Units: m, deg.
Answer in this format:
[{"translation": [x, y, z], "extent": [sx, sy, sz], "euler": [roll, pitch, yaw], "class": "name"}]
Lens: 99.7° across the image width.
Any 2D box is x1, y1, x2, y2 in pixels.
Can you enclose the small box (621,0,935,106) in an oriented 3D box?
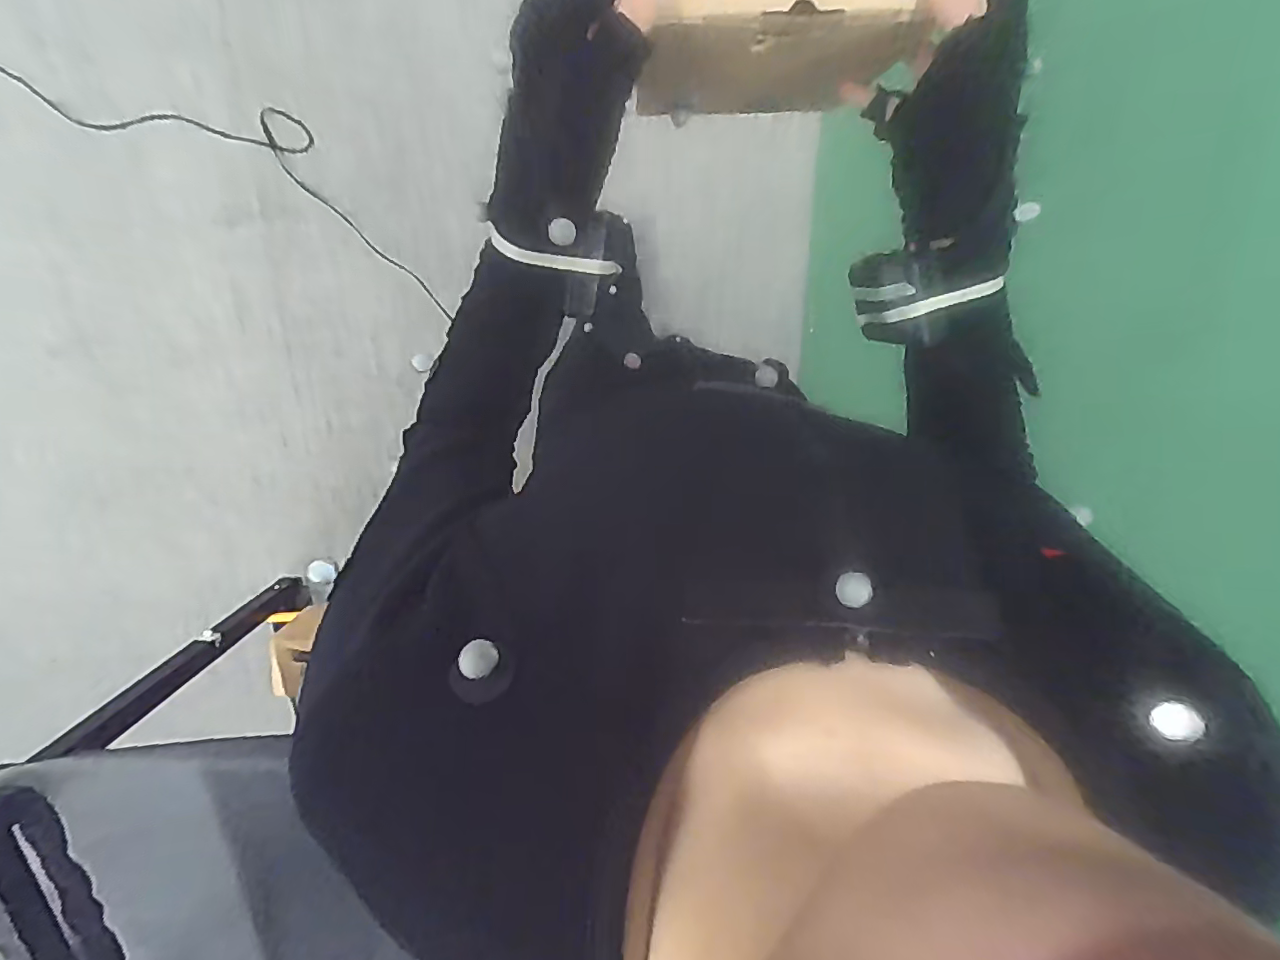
[{"translation": [0.071, -0.349, 0.328], "extent": [0.168, 0.176, 0.179], "euler": [-2, 109, -1], "class": "small box"}]
